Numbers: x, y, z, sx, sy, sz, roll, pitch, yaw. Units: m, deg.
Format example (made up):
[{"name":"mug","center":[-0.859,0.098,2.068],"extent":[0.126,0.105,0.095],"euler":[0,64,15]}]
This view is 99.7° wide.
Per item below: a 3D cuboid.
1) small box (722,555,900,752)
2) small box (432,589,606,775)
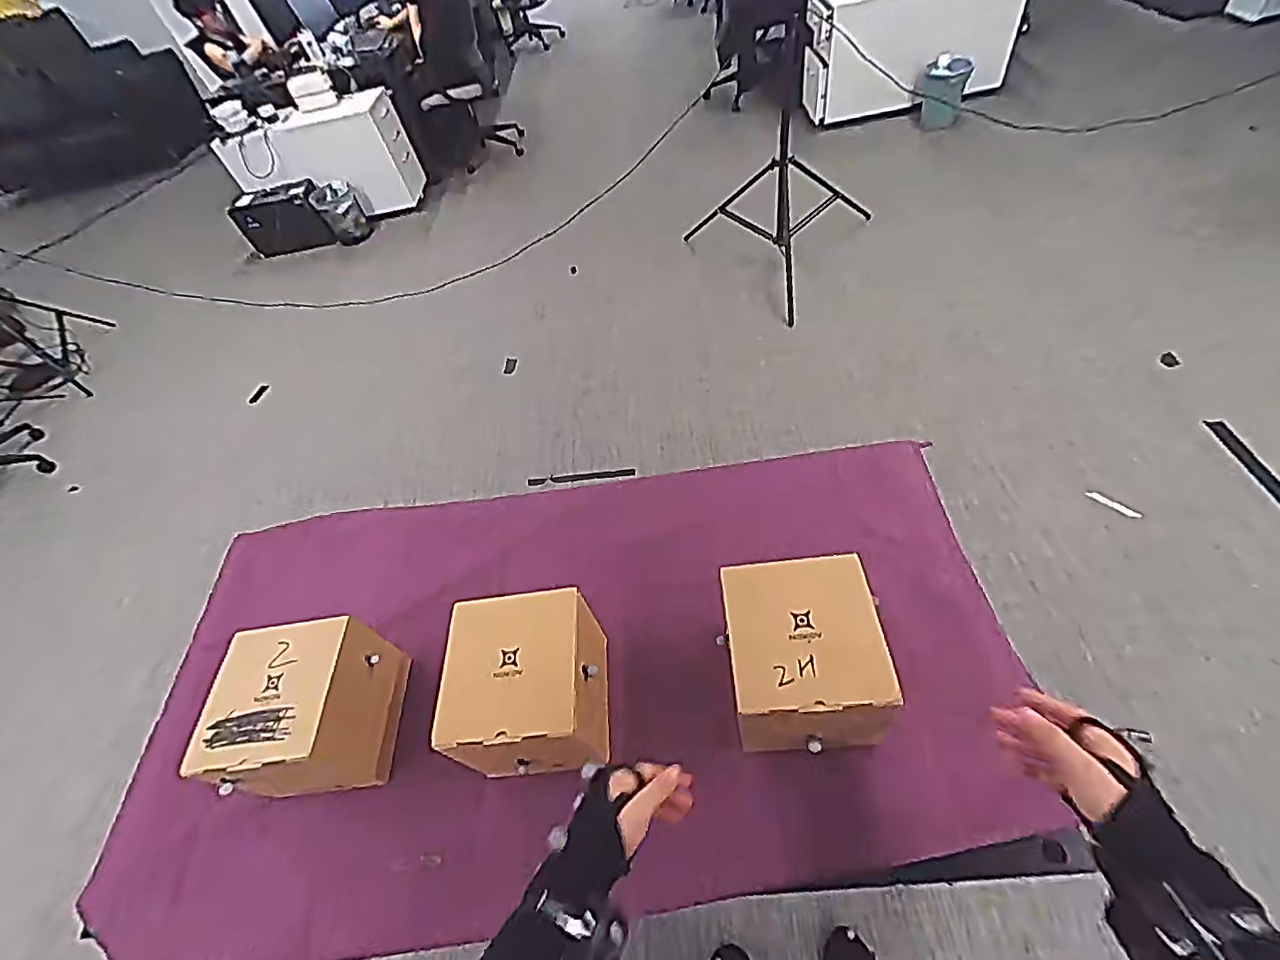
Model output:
[{"name":"small box","center":[0.193,0.215,0.662],"extent":[0.168,0.176,0.179],"euler":[-8,51,8]},{"name":"small box","center":[-0.141,0.265,0.702],"extent":[0.168,0.176,0.179],"euler":[-9,52,6]}]
